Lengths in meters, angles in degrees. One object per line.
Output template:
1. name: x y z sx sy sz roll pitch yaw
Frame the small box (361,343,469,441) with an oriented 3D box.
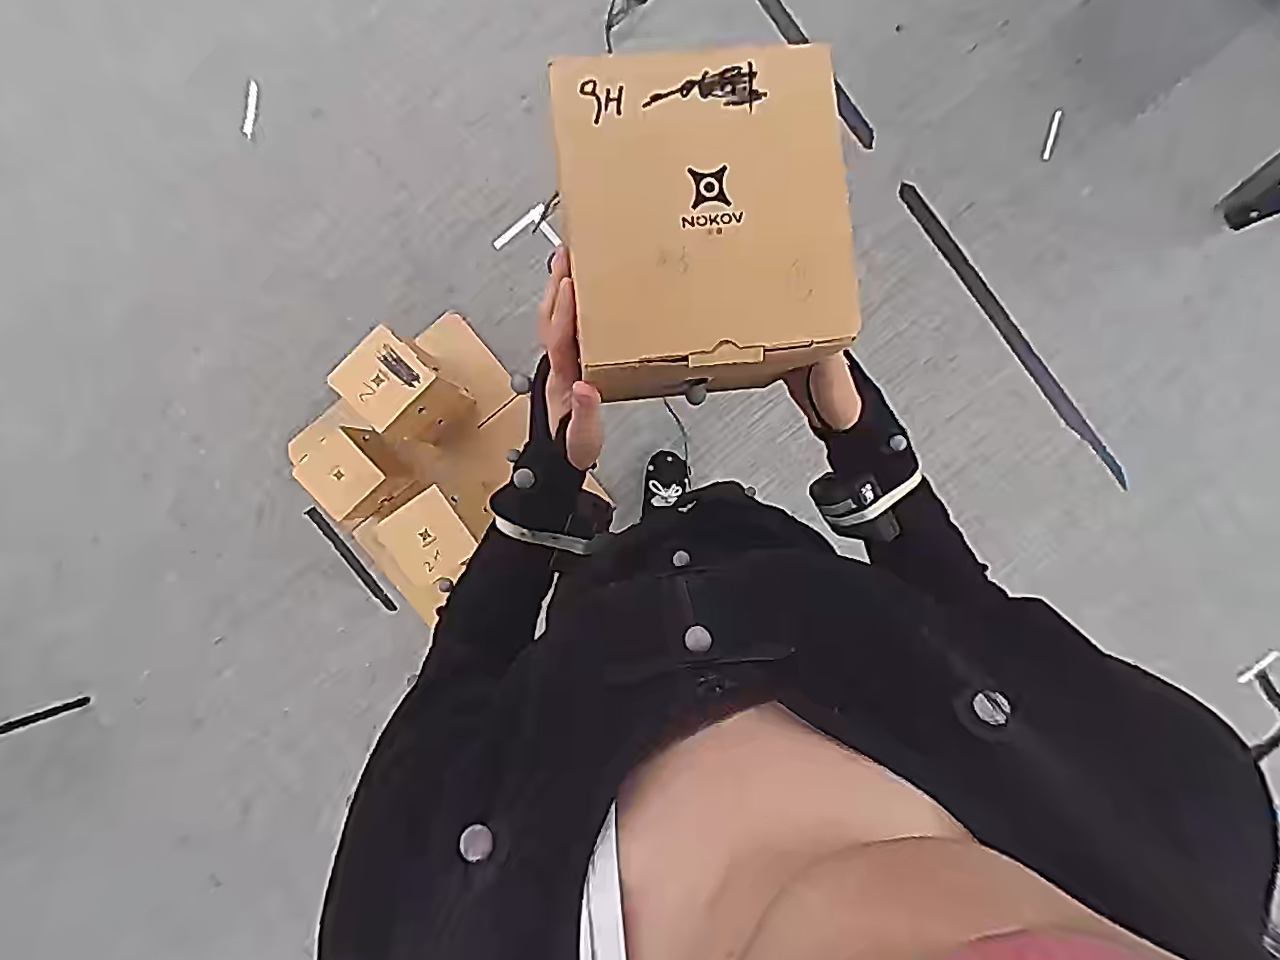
1. small box: -0.561 -0.218 1.384 0.179 0.176 0.168 -43 92 0

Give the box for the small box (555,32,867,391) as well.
1. small box: 0.036 -0.161 0.382 0.168 0.176 0.179 -7 92 -5

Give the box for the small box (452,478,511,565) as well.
1. small box: -0.459 0.111 1.392 0.168 0.176 0.179 -36 93 0

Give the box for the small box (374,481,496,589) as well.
1. small box: -0.455 0.117 1.228 0.168 0.176 0.179 -35 93 0

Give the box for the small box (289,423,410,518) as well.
1. small box: -0.734 -0.023 1.385 0.168 0.176 0.179 -44 91 2
